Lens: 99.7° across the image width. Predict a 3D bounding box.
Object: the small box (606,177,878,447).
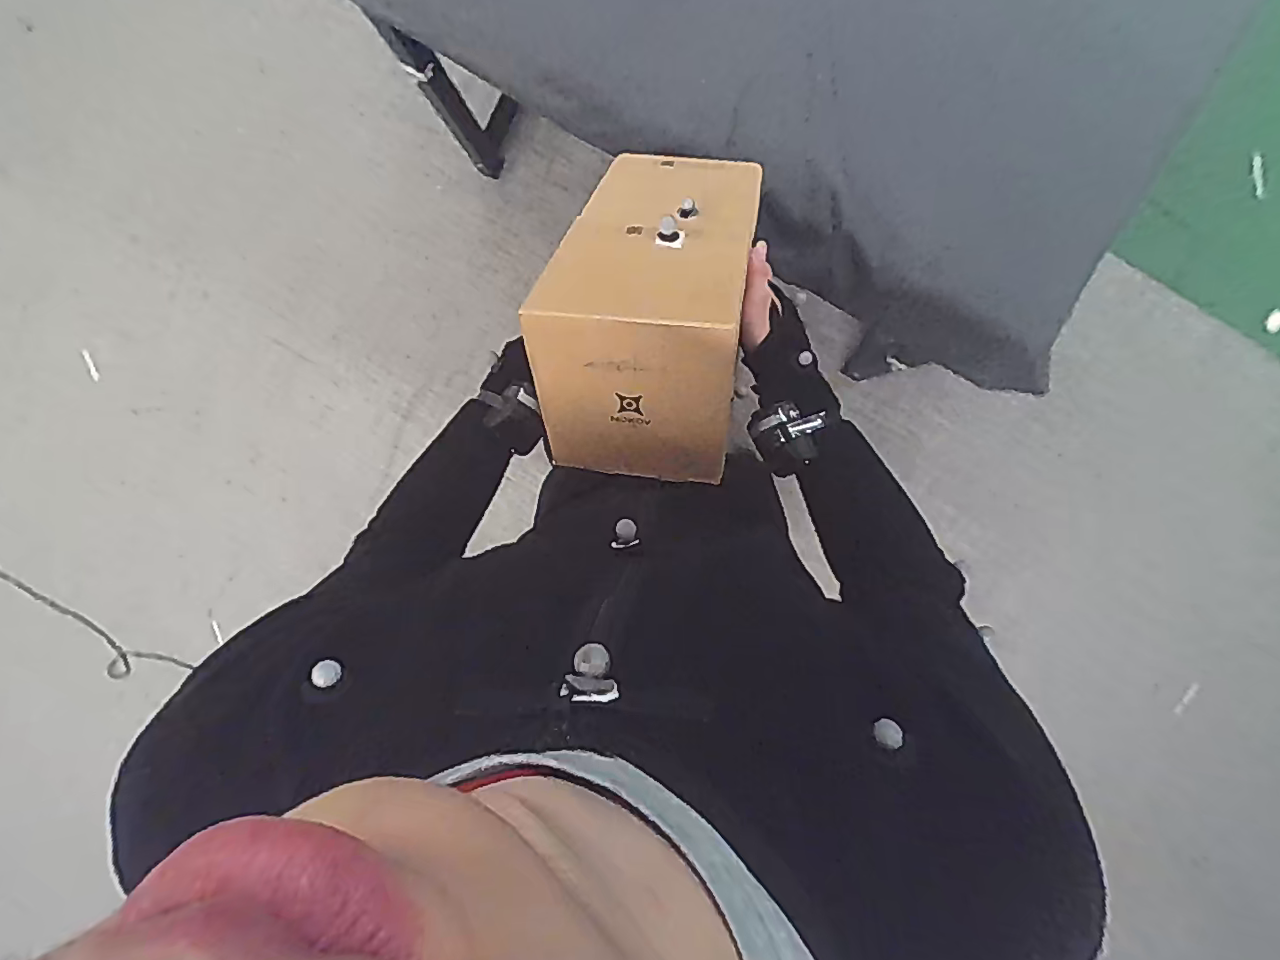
[{"bbox_3d":[0.088,-0.164,0.526,0.179,0.168,0.176,20,115,-22],"label":"small box"}]
